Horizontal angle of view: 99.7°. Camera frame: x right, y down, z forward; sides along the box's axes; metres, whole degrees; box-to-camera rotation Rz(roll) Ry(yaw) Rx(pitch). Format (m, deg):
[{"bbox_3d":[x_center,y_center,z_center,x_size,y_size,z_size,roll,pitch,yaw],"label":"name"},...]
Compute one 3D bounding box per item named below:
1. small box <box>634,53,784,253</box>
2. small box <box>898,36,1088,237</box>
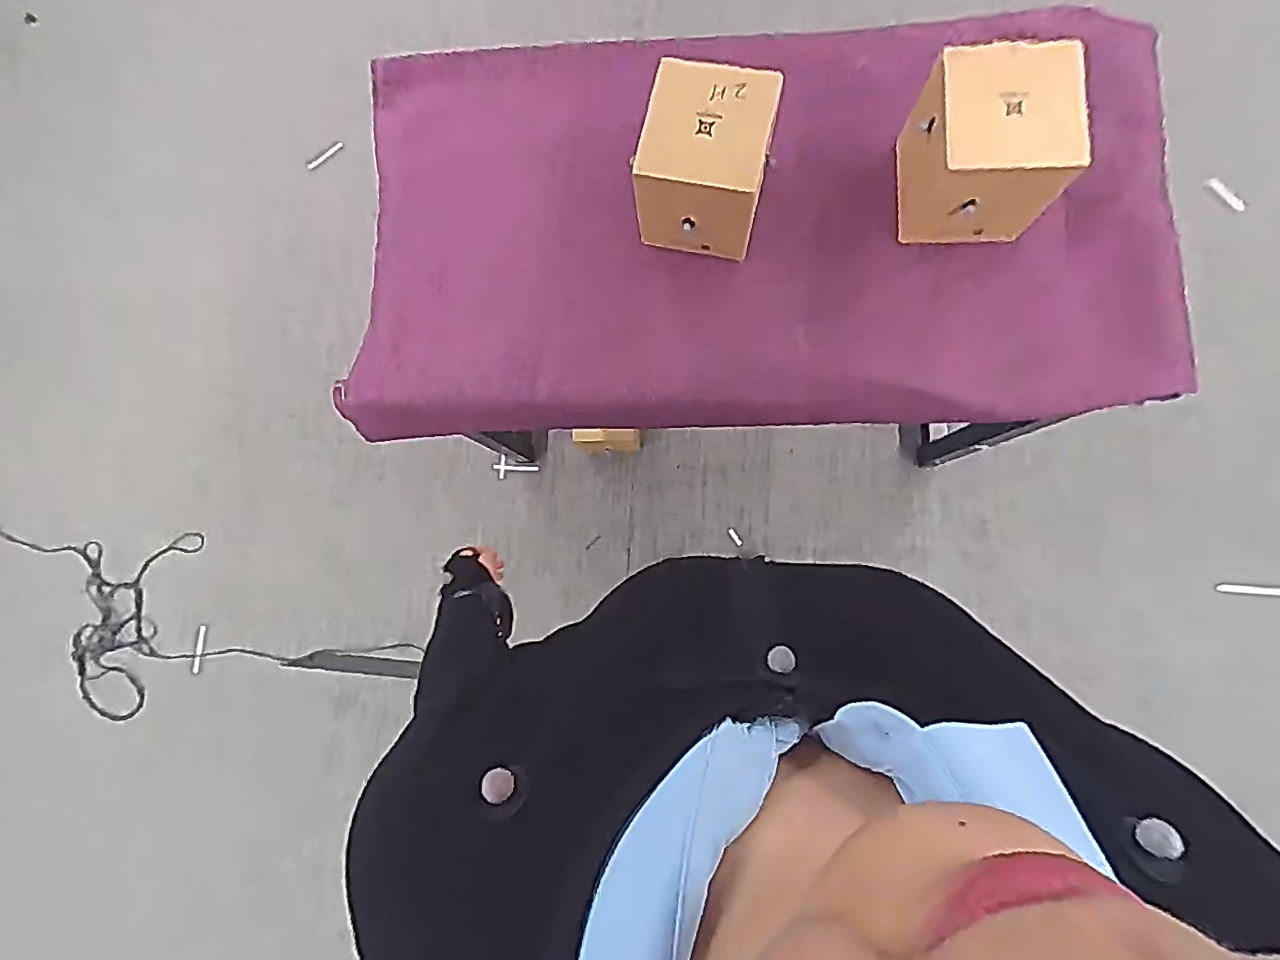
[{"bbox_3d":[0.098,-0.460,0.785,0.168,0.176,0.179,13,84,6],"label":"small box"},{"bbox_3d":[0.474,-0.460,0.752,0.168,0.176,0.179,2,82,6],"label":"small box"}]
